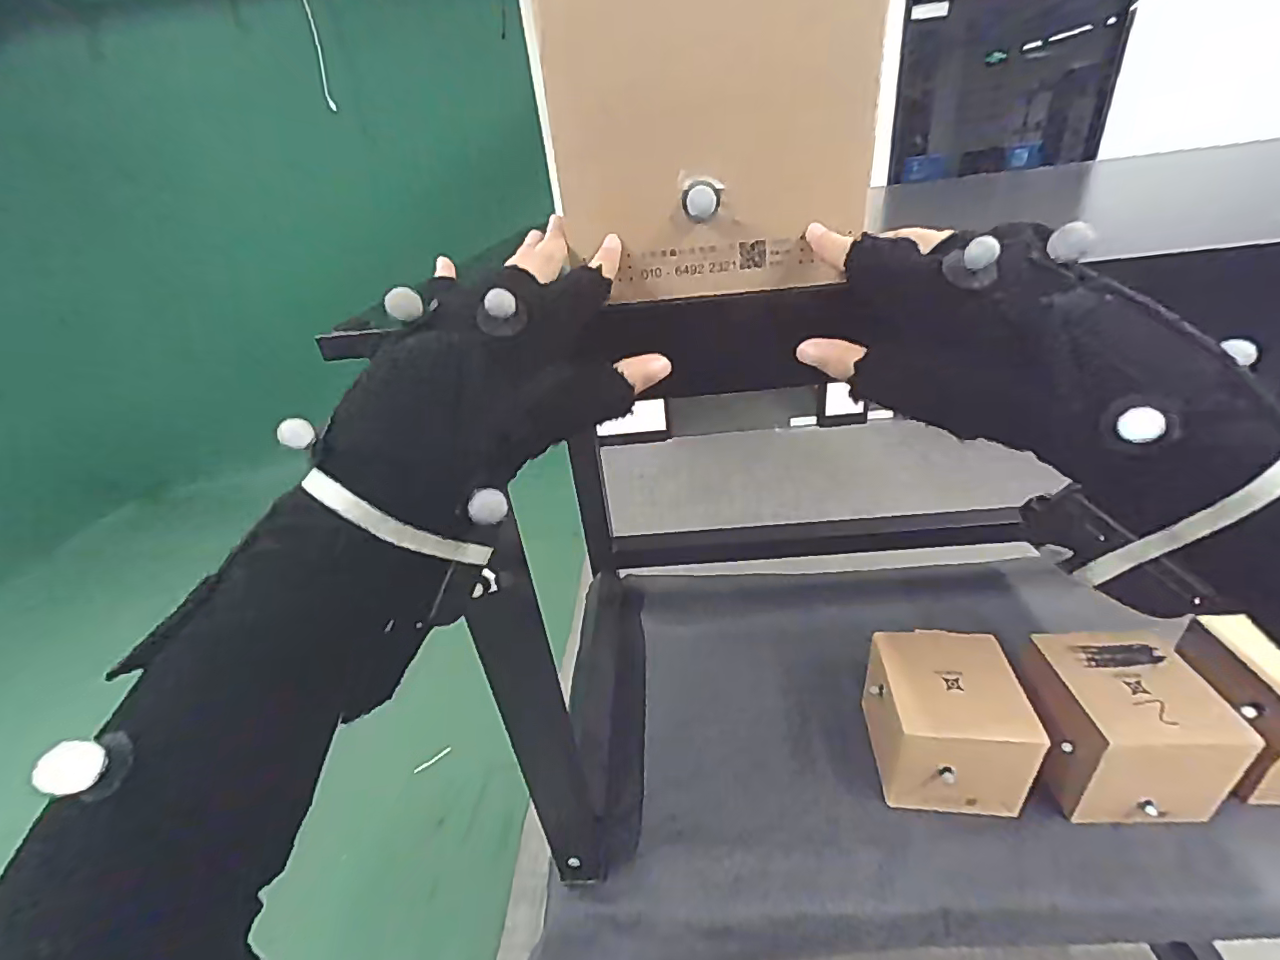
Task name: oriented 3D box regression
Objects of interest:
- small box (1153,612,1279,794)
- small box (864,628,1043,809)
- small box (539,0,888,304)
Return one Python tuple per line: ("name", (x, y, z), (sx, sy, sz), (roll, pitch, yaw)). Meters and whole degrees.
("small box", (0.866, 0.302, 0.731), (0.168, 0.176, 0.179), (-3, 30, 7))
("small box", (0.428, 0.337, 0.772), (0.168, 0.176, 0.179), (-1, 31, 10))
("small box", (0.041, -0.219, 0.348), (0.168, 0.176, 0.179), (-3, 32, 6))
